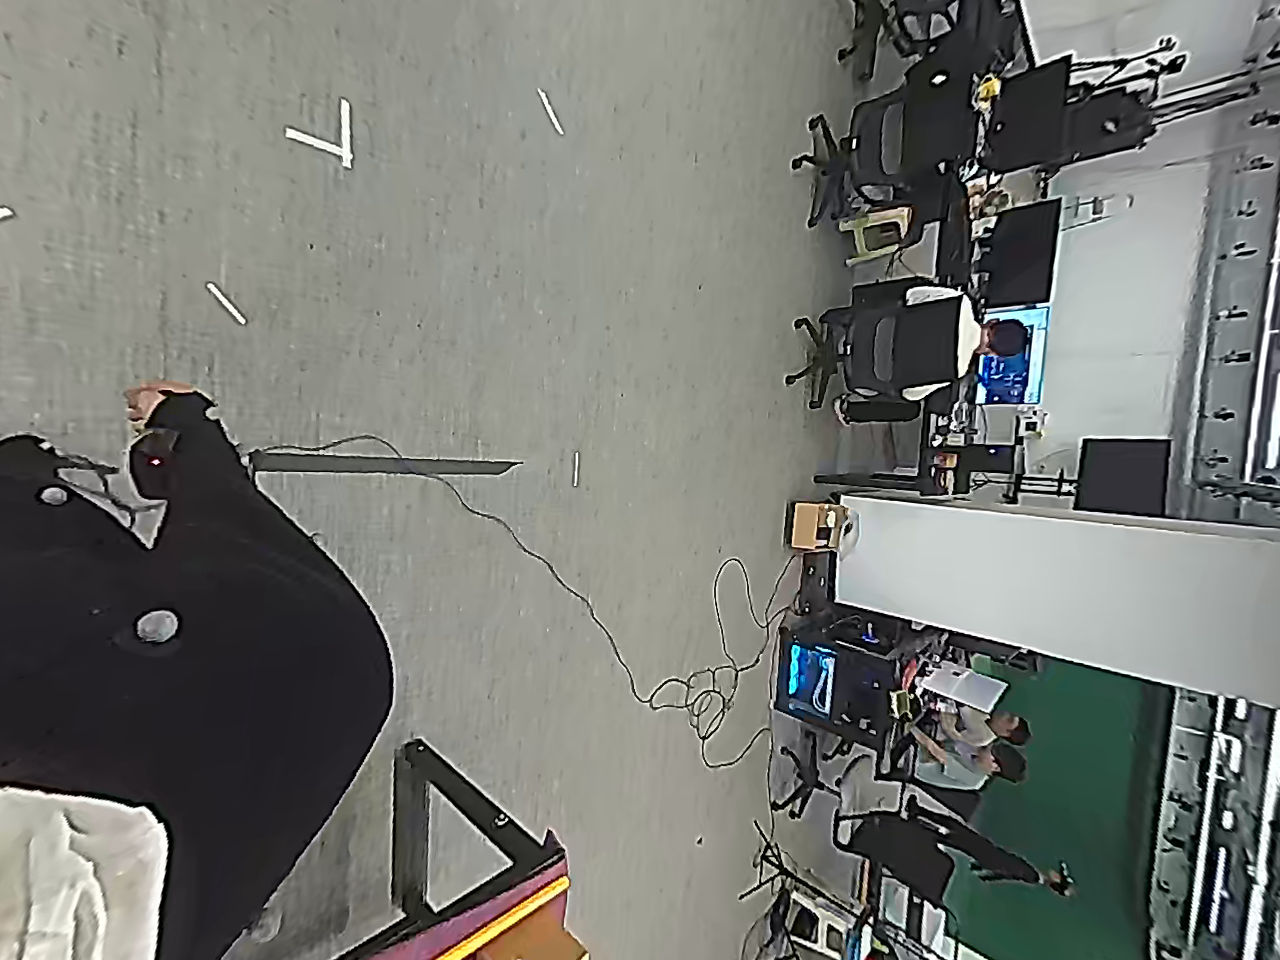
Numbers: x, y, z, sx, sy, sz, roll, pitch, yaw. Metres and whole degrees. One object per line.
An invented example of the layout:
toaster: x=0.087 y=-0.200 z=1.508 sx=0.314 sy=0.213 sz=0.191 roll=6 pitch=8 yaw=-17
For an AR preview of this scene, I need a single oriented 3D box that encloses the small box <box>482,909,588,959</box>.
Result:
small box: x=-0.233 y=1.080 z=1.146 sx=0.179 sy=0.176 sz=0.168 roll=0 pitch=95 yaw=-45
